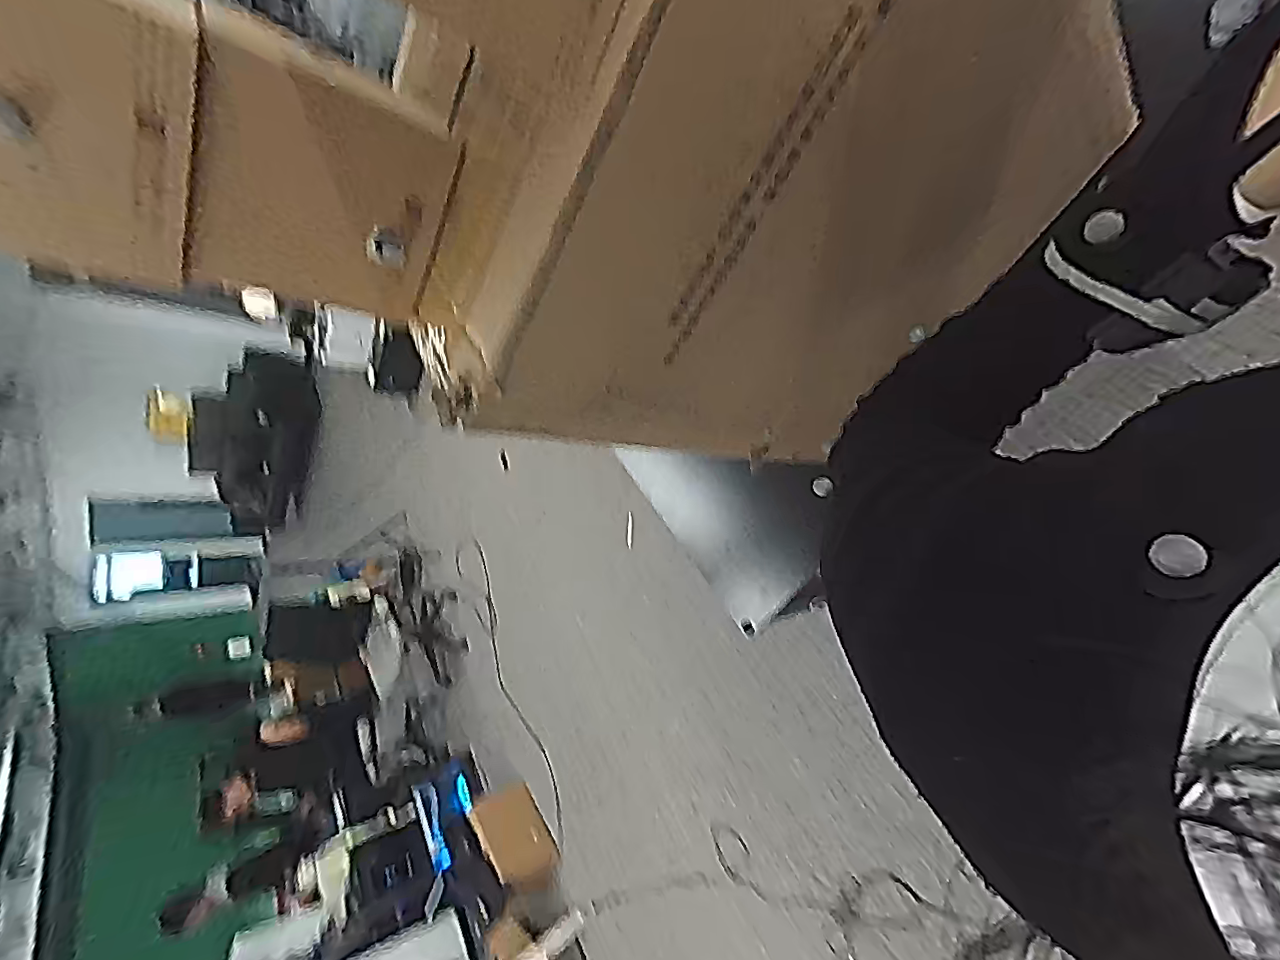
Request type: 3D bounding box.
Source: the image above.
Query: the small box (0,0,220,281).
[{"bbox_3d":[-0.389,-0.252,0.355,0.179,0.176,0.168,53,125,35],"label":"small box"}]

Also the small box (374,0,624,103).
[{"bbox_3d":[-0.102,-0.339,0.285,0.179,0.176,0.168,53,127,34],"label":"small box"}]

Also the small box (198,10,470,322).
[{"bbox_3d":[-0.273,-0.259,0.473,0.179,0.176,0.168,51,124,36],"label":"small box"}]
